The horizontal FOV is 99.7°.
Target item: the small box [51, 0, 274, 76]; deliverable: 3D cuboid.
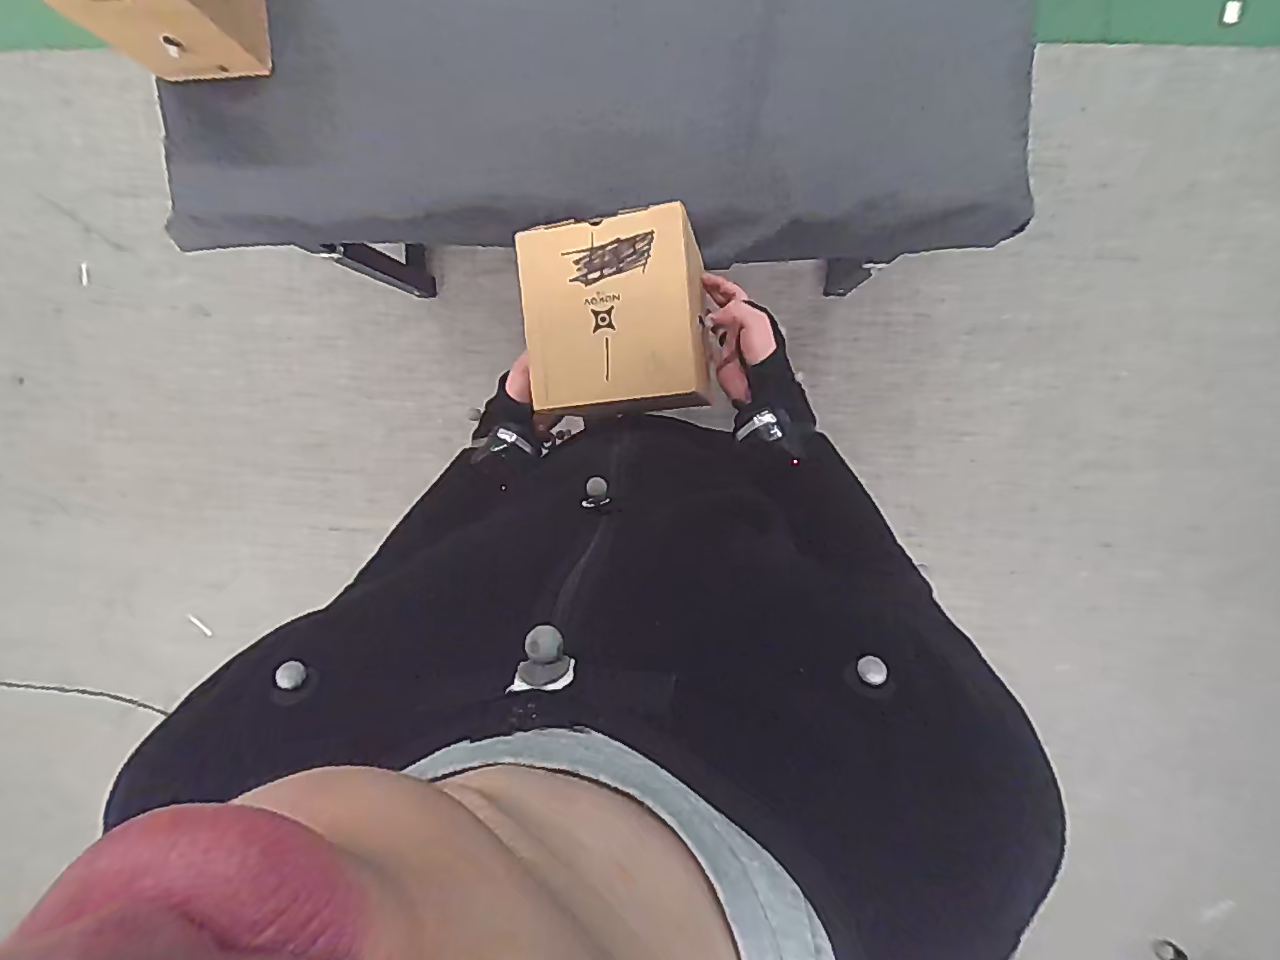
[{"bbox_3d":[-0.611,-0.659,0.699,0.168,0.176,0.179,-1,98,3],"label":"small box"}]
